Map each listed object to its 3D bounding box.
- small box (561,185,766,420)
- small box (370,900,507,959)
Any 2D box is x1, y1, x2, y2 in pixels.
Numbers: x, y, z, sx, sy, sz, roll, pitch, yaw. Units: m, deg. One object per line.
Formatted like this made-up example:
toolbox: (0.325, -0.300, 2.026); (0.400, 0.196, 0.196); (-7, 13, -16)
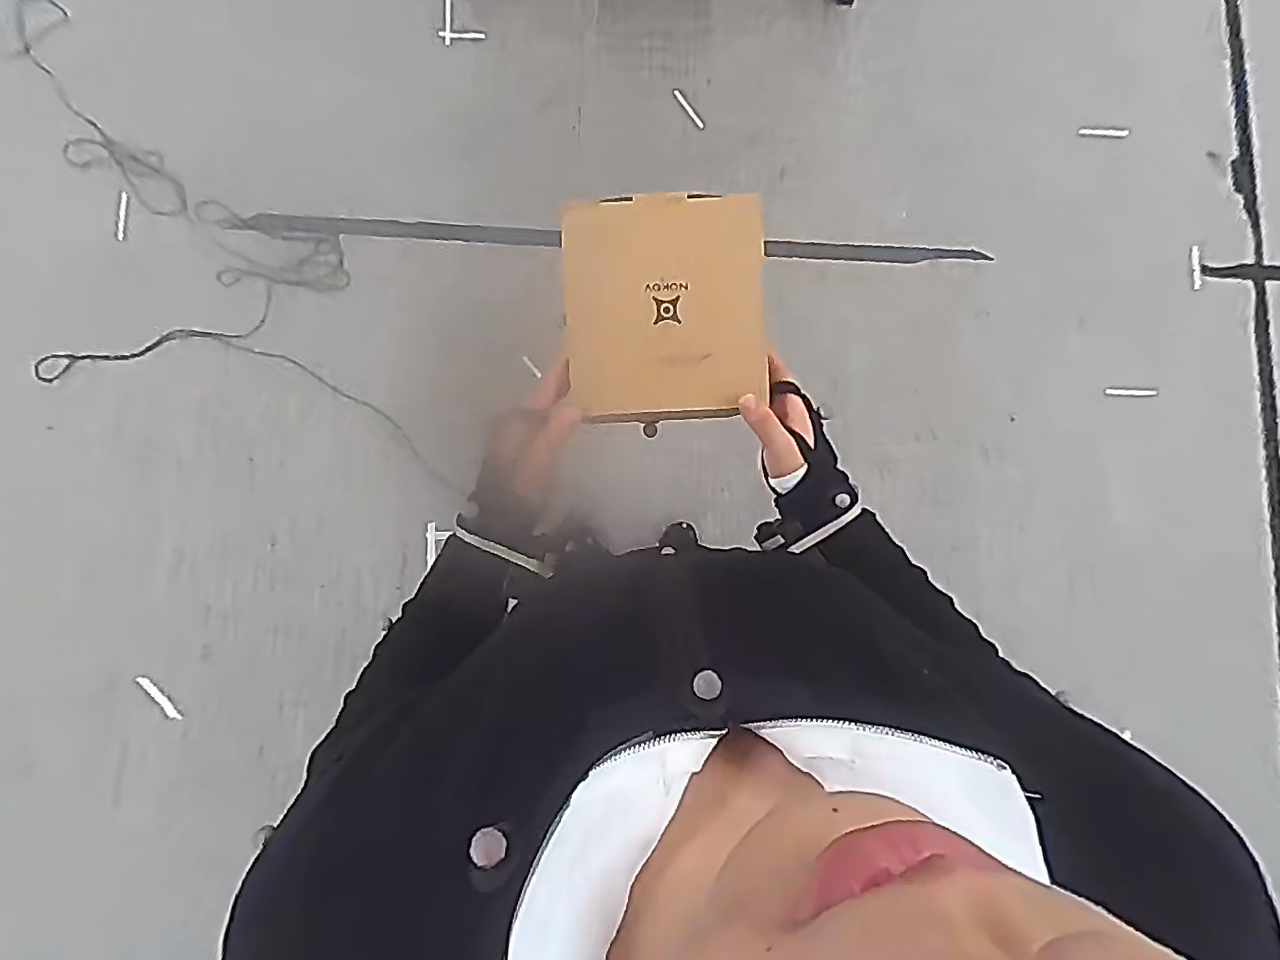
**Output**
small box: (0.017, -0.154, 0.520); (0.168, 0.176, 0.179); (-3, 94, -1)
small box: (-0.282, 0.727, 0.741); (0.168, 0.176, 0.179); (2, 85, -3)
